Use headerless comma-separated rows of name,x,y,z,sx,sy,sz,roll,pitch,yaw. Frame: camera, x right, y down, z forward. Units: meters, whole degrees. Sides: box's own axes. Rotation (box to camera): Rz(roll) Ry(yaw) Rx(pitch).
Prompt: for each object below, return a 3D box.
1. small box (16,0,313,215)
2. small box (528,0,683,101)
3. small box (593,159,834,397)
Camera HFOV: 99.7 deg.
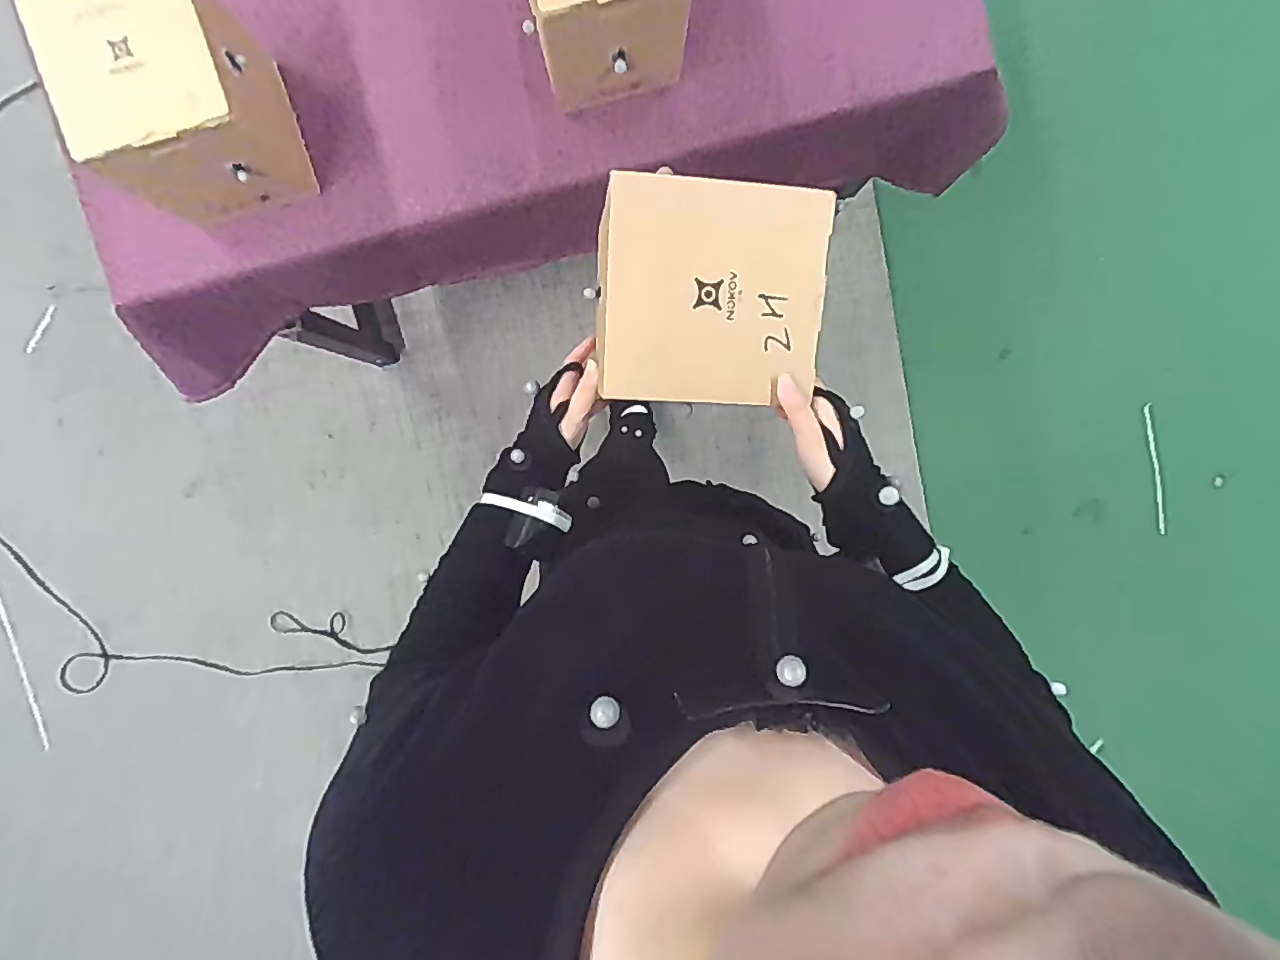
small box,-0.515,-0.429,0.616,0.168,0.176,0.179,-17,94,-2
small box,-0.048,-0.577,0.621,0.168,0.176,0.179,-15,95,-1
small box,0.048,-0.168,0.496,0.179,0.176,0.168,2,103,-8
